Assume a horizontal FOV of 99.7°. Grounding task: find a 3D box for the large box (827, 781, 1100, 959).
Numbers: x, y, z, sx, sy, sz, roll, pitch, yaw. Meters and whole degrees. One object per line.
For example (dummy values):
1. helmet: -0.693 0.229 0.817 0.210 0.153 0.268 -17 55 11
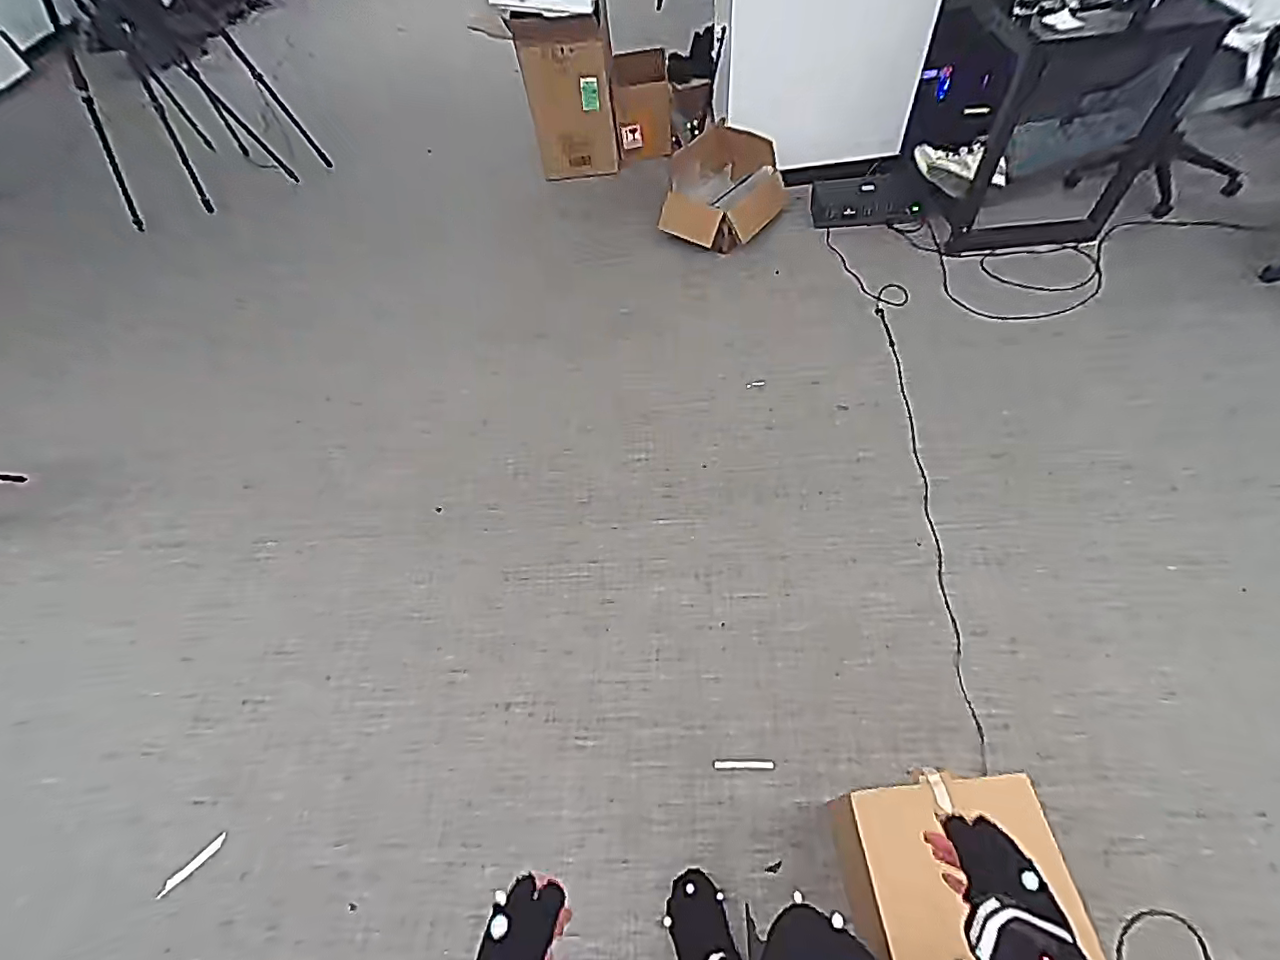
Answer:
1. large box: 0.573 0.805 0.989 0.320 0.320 0.408 -9 56 4
